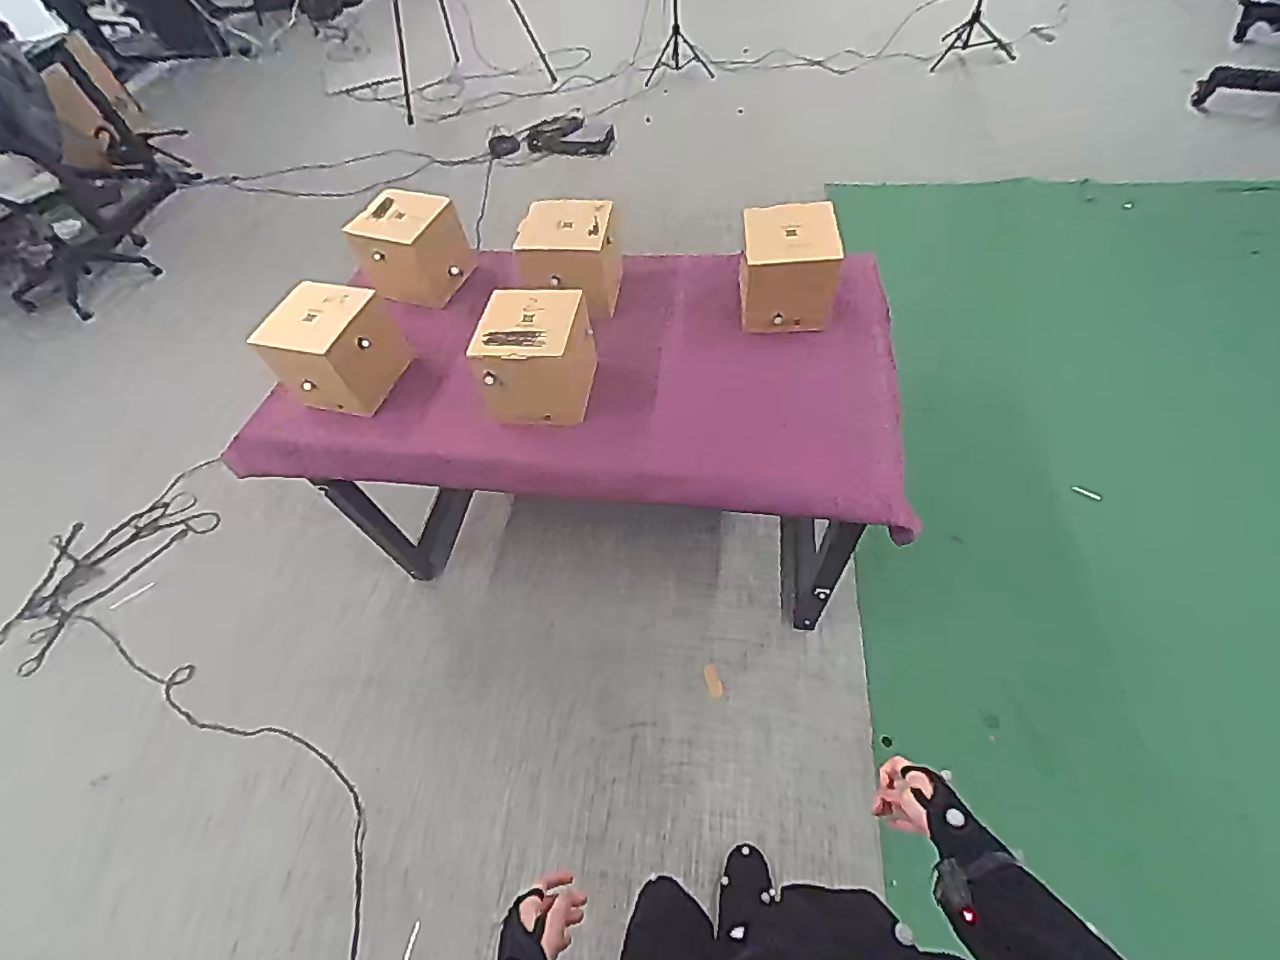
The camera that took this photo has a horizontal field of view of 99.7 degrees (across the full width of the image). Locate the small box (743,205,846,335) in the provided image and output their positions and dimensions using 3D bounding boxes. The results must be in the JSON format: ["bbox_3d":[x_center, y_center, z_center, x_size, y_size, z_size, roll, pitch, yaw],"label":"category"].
[{"bbox_3d":[0.289,-0.404,1.051,0.168,0.176,0.179,0,58,8],"label":"small box"}]

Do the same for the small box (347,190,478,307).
[{"bbox_3d":[-0.494,-0.509,1.200,0.179,0.176,0.168,16,61,14],"label":"small box"}]

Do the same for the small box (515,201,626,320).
[{"bbox_3d":[-0.135,-0.453,1.128,0.179,0.176,0.168,4,59,9],"label":"small box"}]

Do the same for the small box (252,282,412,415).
[{"bbox_3d":[-0.571,-0.248,1.033,0.168,0.176,0.179,12,58,13],"label":"small box"}]
